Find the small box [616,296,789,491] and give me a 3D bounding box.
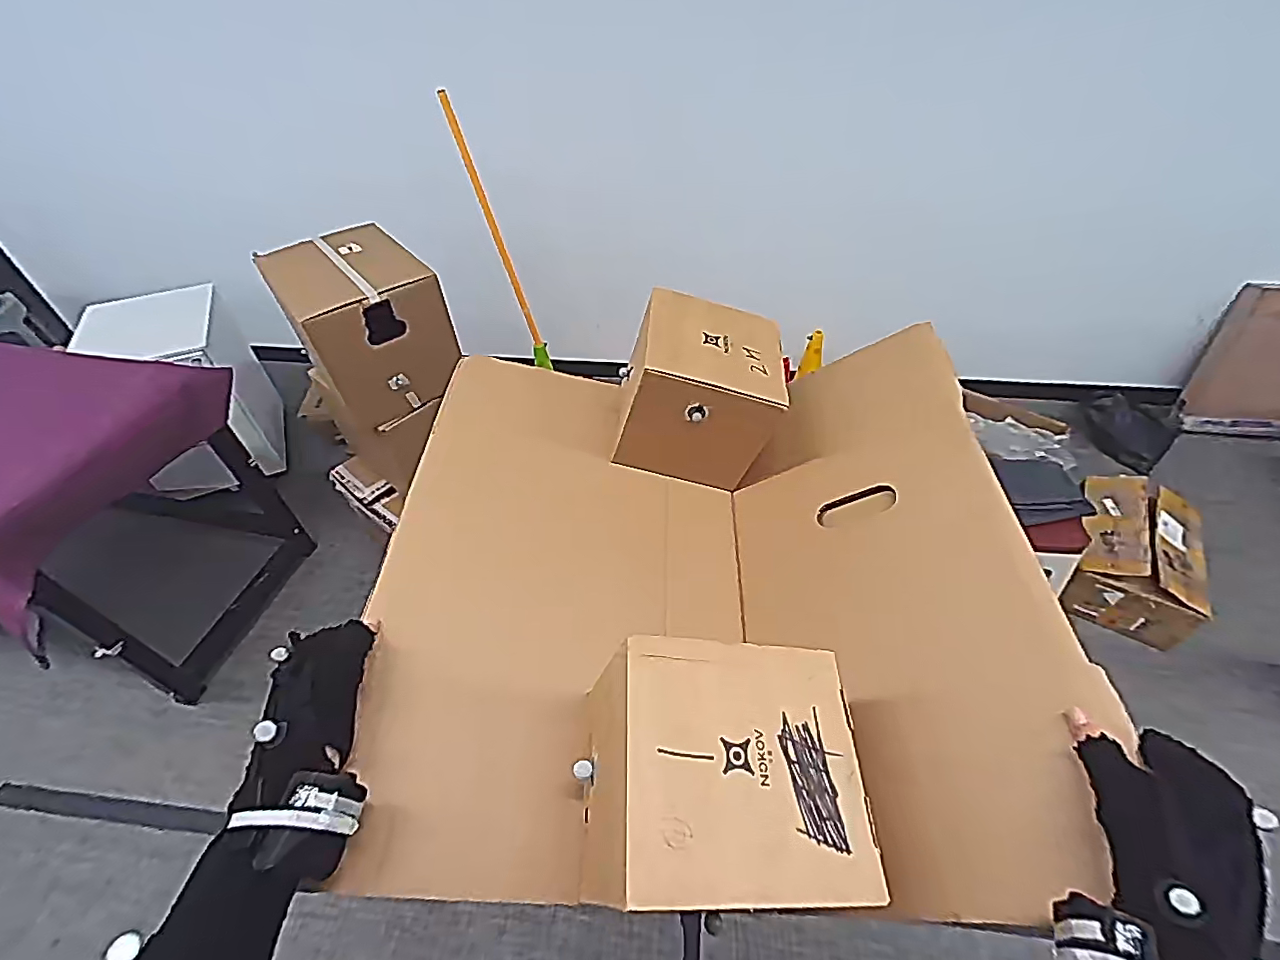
[{"bbox_3d":[0.074,-0.106,0.715,0.179,0.176,0.168,15,51,-9],"label":"small box"}]
